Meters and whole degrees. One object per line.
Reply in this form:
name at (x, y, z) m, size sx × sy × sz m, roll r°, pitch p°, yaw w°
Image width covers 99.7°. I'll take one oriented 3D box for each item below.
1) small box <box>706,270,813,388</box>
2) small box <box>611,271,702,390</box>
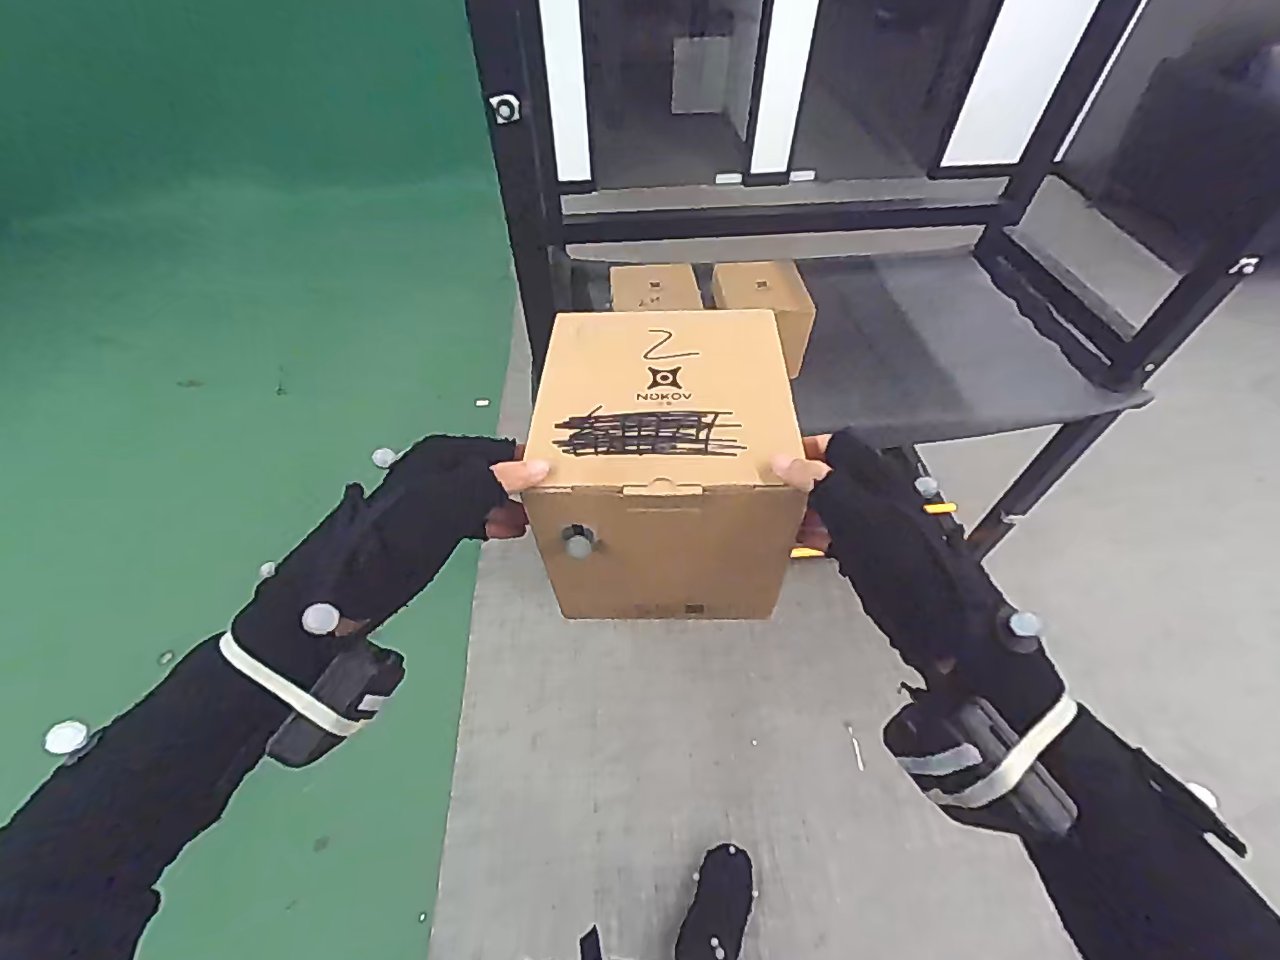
small box at (0.235, -0.310, 1.114) m, size 0.168 × 0.176 × 0.179 m, roll -4°, pitch 50°, yaw -3°
small box at (0.027, -0.304, 1.104) m, size 0.168 × 0.176 × 0.179 m, roll -4°, pitch 50°, yaw -3°
